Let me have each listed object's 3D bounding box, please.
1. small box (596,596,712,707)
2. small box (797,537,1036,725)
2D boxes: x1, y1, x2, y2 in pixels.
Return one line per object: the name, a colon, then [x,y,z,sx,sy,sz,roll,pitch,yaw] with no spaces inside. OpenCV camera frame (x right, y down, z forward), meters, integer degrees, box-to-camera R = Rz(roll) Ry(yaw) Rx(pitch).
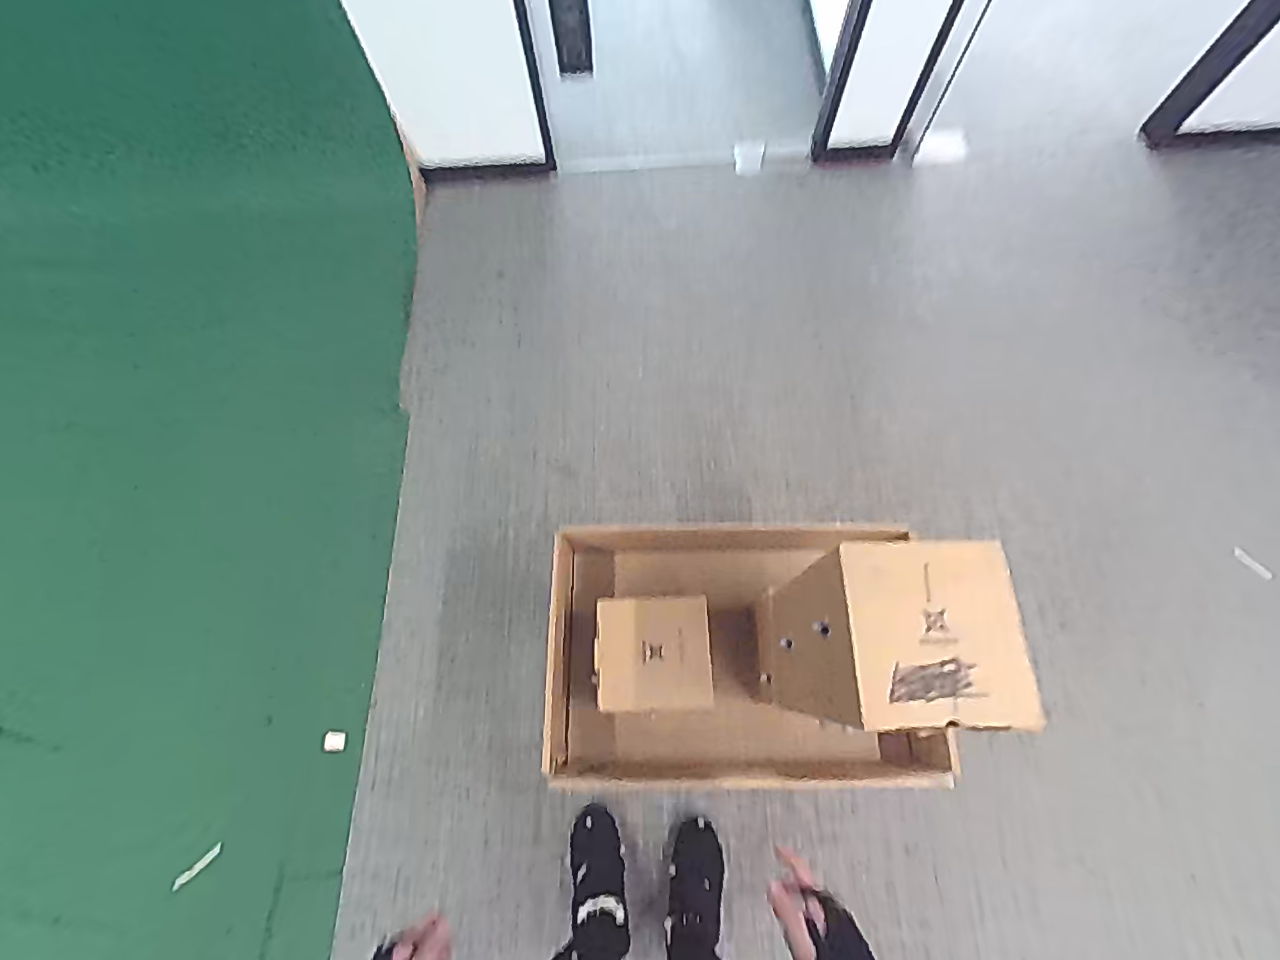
small box: [0.021,0.290,0.905,0.179,0.176,0.168,-1,70,-1]
small box: [0.280,0.167,0.594,0.168,0.176,0.179,0,69,1]
